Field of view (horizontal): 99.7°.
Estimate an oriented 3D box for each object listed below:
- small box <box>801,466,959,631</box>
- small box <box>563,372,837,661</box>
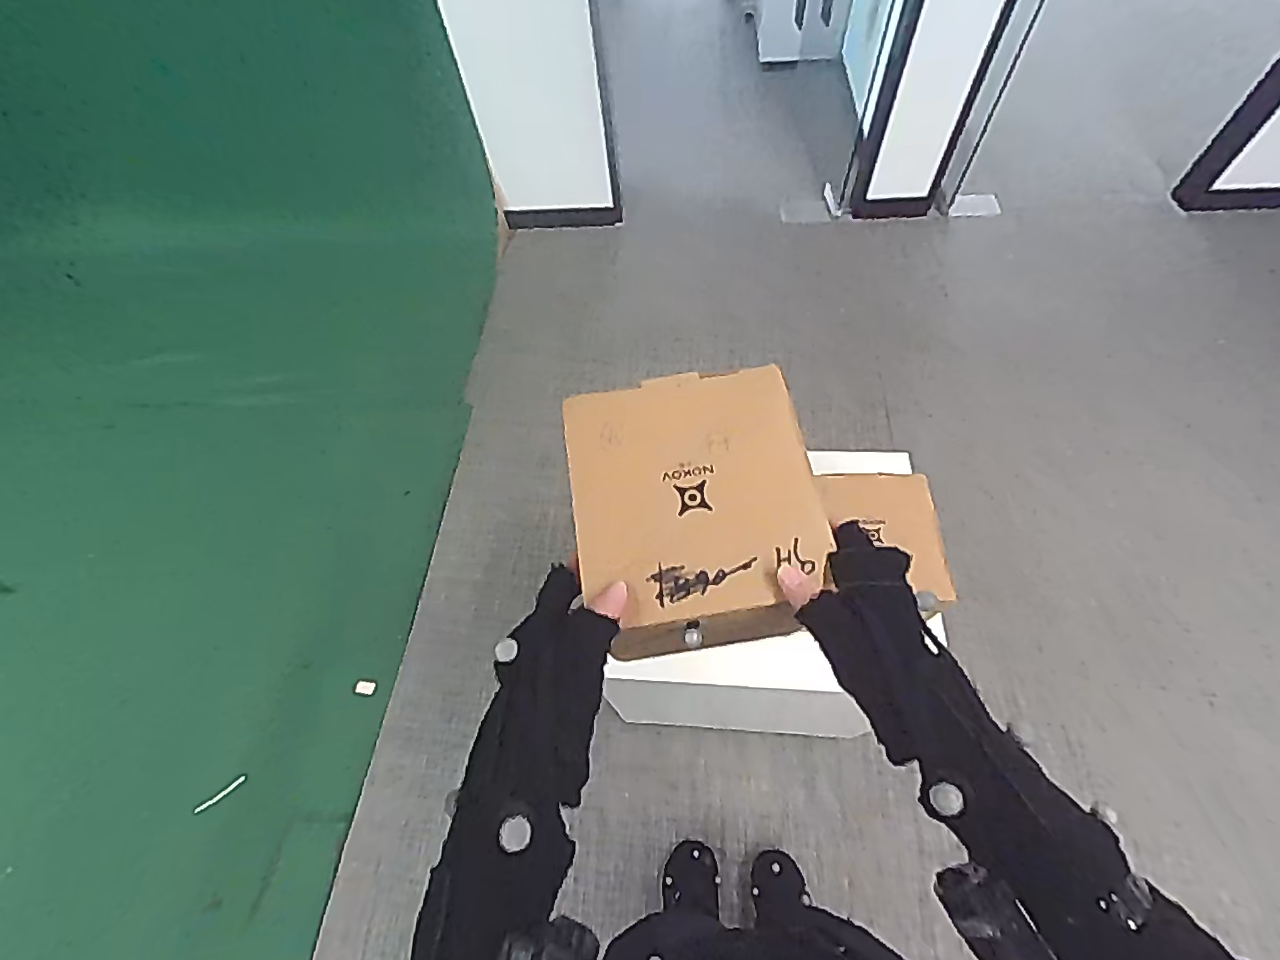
[{"bbox_3d":[0.297,0.097,0.740,0.168,0.176,0.179,-1,62,6],"label":"small box"},{"bbox_3d":[0.037,0.040,0.445,0.168,0.176,0.179,-10,66,1],"label":"small box"}]
